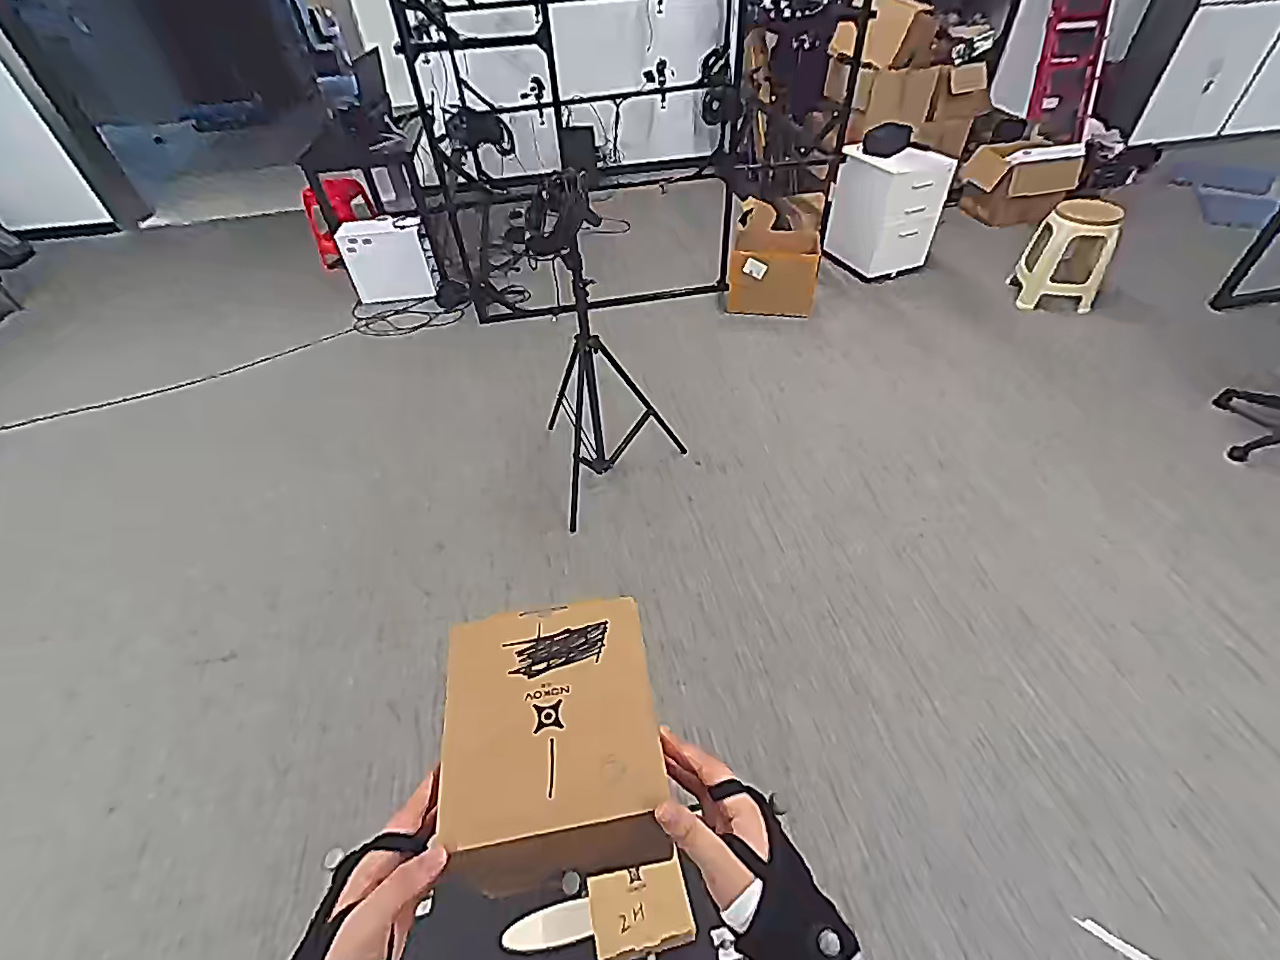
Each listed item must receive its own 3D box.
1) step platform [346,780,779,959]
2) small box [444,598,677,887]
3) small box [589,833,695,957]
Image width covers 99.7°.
[{"bbox_3d":[-0.123,0.774,0.933,0.684,0.204,0.286,-11,45,-8],"label":"step platform"},{"bbox_3d":[-0.065,0.237,0.492,0.168,0.176,0.179,-9,45,-5],"label":"small box"},{"bbox_3d":[-0.002,0.748,0.999,0.168,0.176,0.179,-12,46,-7],"label":"small box"}]
